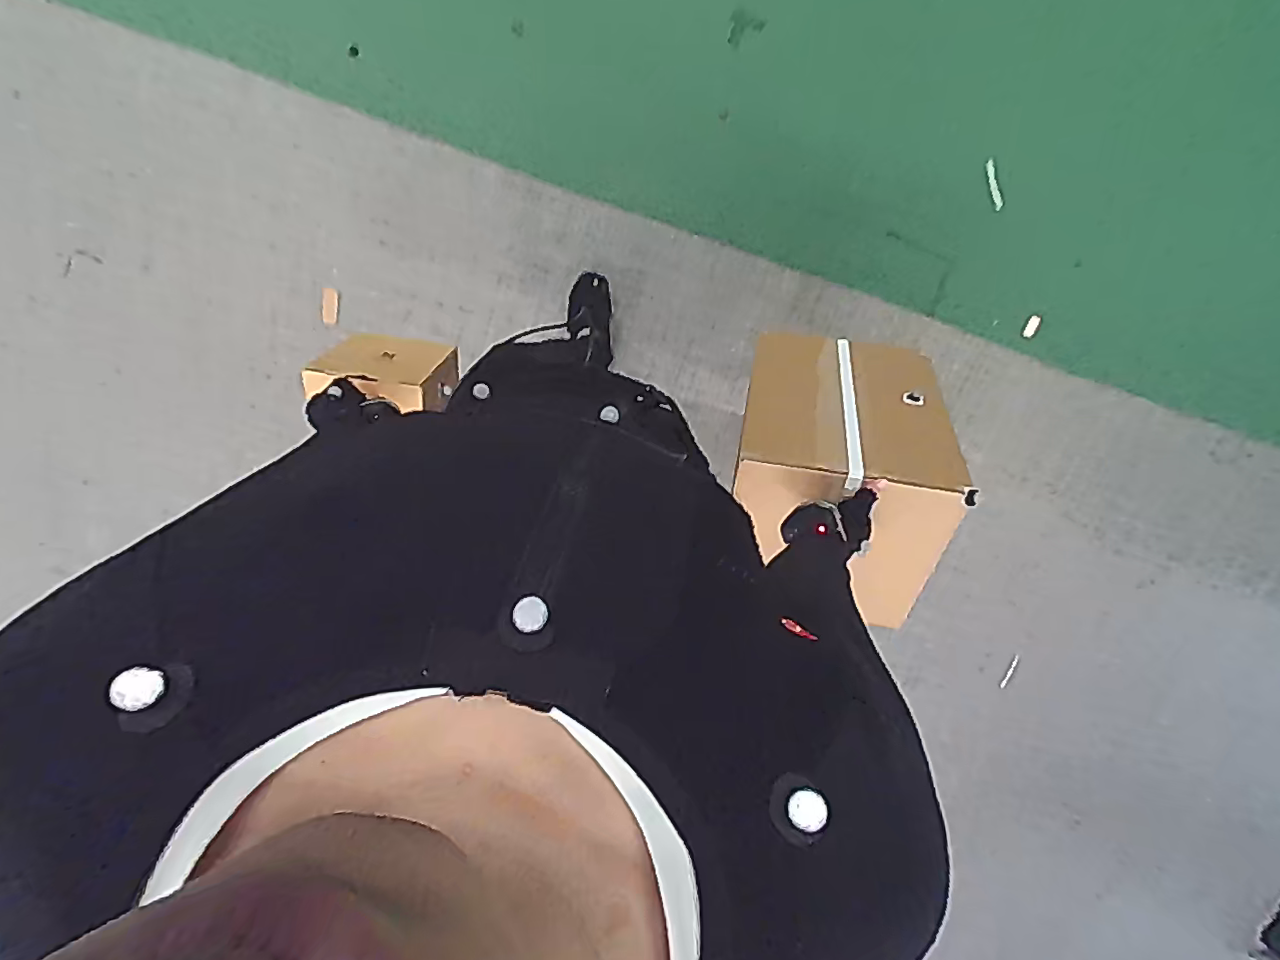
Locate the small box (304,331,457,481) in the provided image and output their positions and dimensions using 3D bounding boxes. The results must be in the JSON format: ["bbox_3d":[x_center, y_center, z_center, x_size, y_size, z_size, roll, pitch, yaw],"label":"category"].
[{"bbox_3d":[-0.401,-0.121,0.868,0.168,0.179,0.176,8,122,-4],"label":"small box"}]
